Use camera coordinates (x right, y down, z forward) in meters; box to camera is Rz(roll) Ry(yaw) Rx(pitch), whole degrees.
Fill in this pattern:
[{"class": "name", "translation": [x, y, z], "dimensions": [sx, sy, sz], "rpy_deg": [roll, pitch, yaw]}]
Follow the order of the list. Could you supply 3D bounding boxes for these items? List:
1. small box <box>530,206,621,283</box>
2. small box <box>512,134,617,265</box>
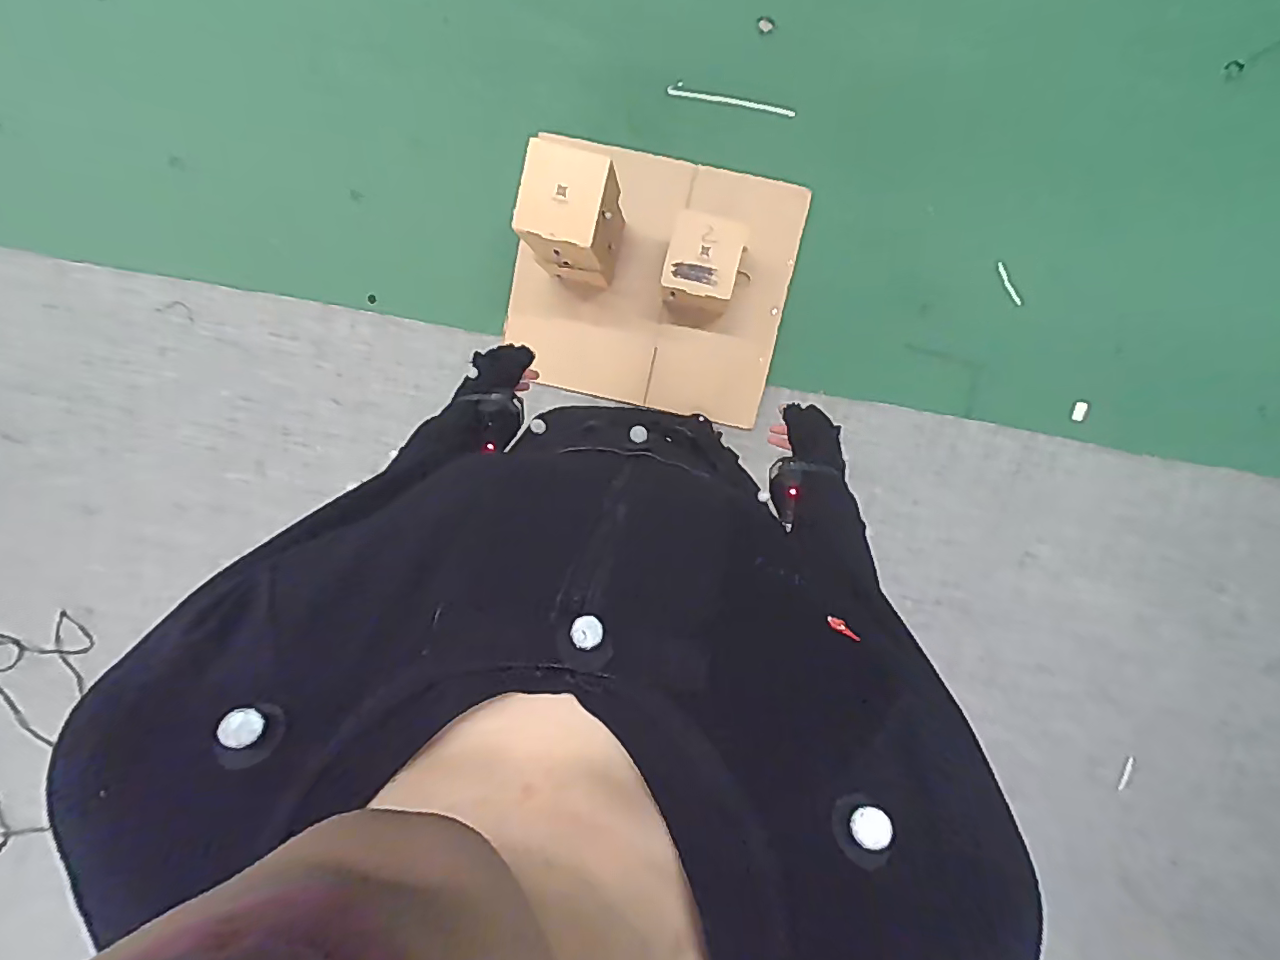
[{"class": "small box", "translation": [-0.146, -0.587, 1.290], "dimensions": [0.168, 0.176, 0.179], "rpy_deg": [14, 98, 2]}, {"class": "small box", "translation": [-0.149, -0.574, 1.128], "dimensions": [0.168, 0.176, 0.179], "rpy_deg": [15, 99, 1]}]
